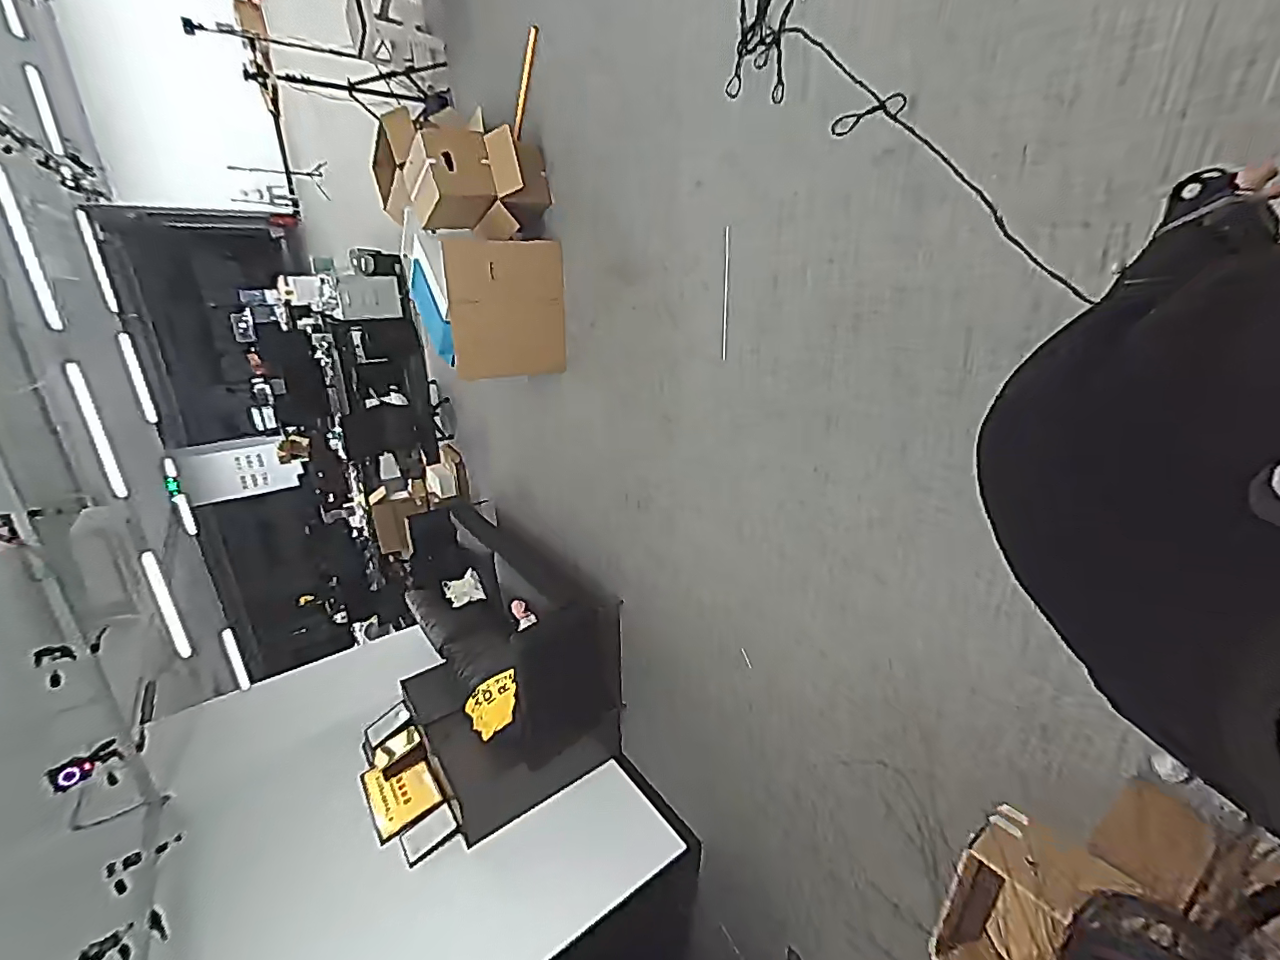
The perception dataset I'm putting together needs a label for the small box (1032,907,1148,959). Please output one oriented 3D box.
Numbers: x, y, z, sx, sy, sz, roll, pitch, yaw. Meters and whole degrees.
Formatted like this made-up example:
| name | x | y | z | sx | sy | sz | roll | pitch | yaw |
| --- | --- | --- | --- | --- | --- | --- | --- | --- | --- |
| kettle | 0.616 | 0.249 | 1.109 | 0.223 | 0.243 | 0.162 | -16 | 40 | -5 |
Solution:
| name | x | y | z | sx | sy | sz | roll | pitch | yaw |
| --- | --- | --- | --- | --- | --- | --- | --- | --- | --- |
| small box | 0.861 | 0.979 | 1.024 | 0.168 | 0.176 | 0.179 | 9 | 110 | 52 |
